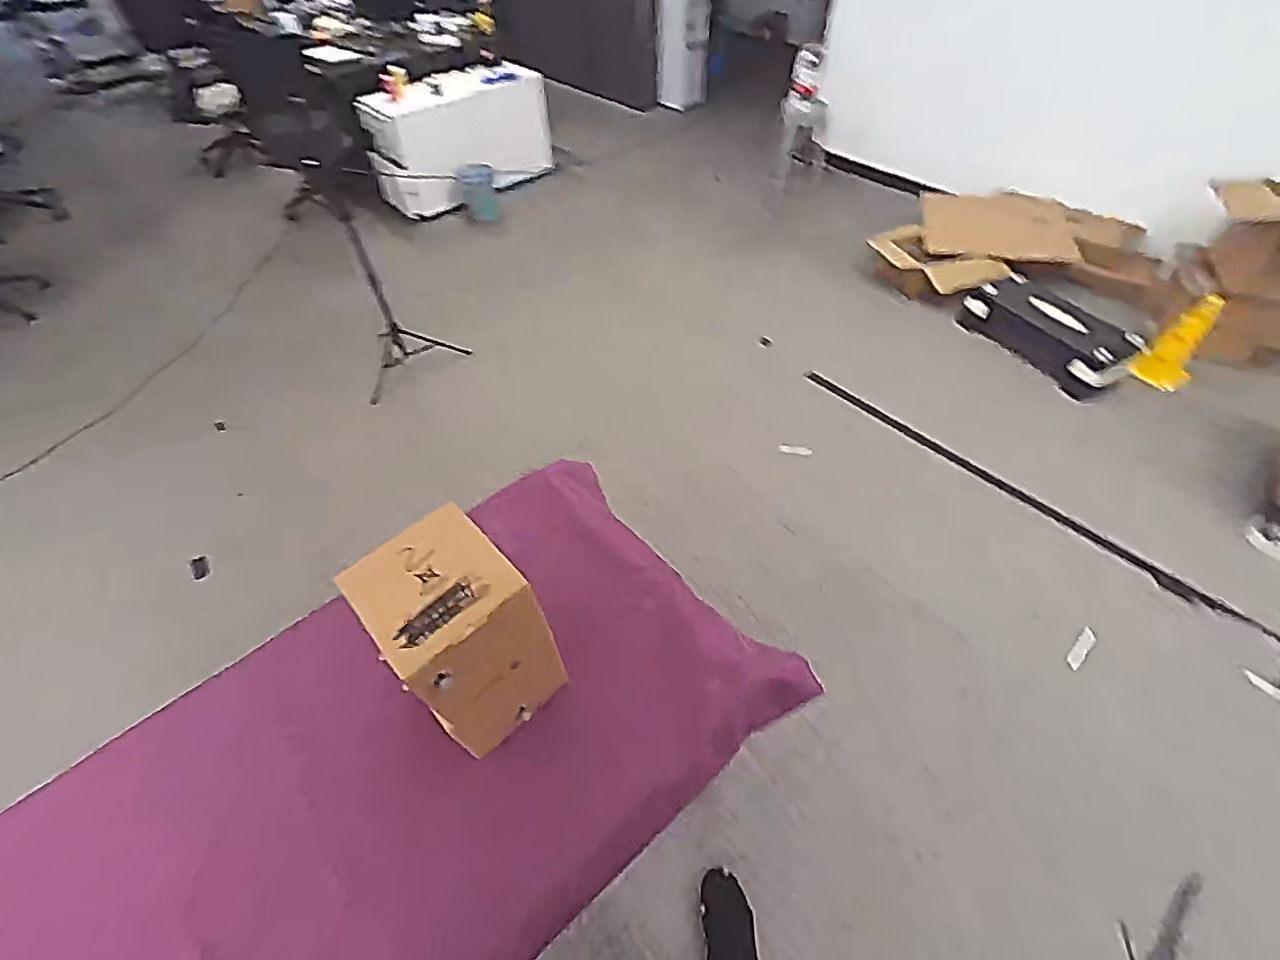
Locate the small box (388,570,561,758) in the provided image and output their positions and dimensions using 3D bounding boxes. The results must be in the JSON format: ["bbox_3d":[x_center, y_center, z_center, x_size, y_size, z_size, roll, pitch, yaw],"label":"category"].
[{"bbox_3d":[-0.235,0.276,0.813,0.179,0.176,0.168,-38,58,-26],"label":"small box"}]
